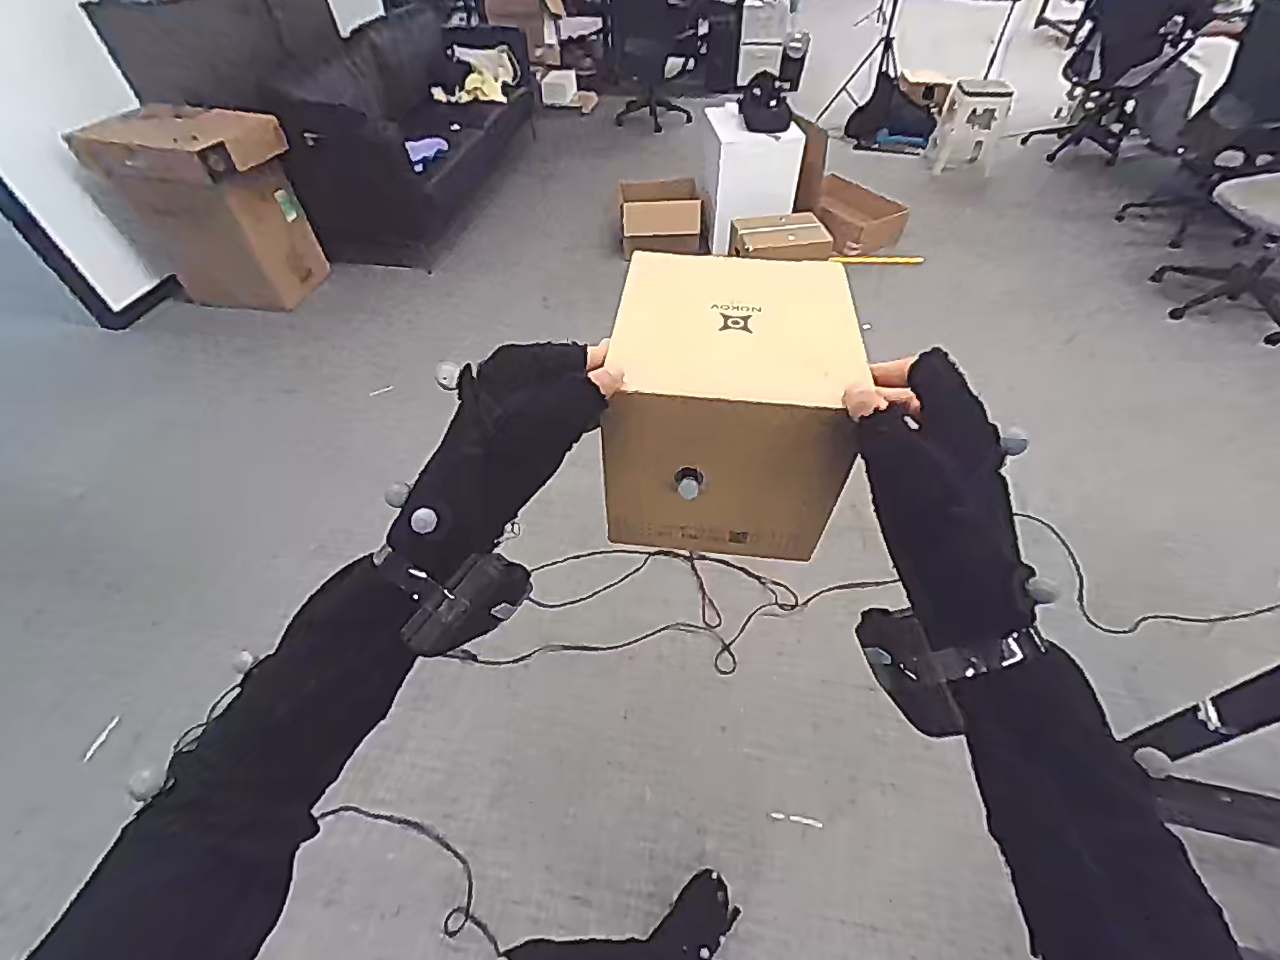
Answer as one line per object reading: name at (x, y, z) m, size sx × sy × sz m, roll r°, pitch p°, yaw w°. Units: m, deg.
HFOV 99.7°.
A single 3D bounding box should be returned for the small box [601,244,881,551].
small box at (0.069, -0.062, 0.427) m, size 0.168 × 0.176 × 0.179 m, roll 5°, pitch 49°, yaw 4°
